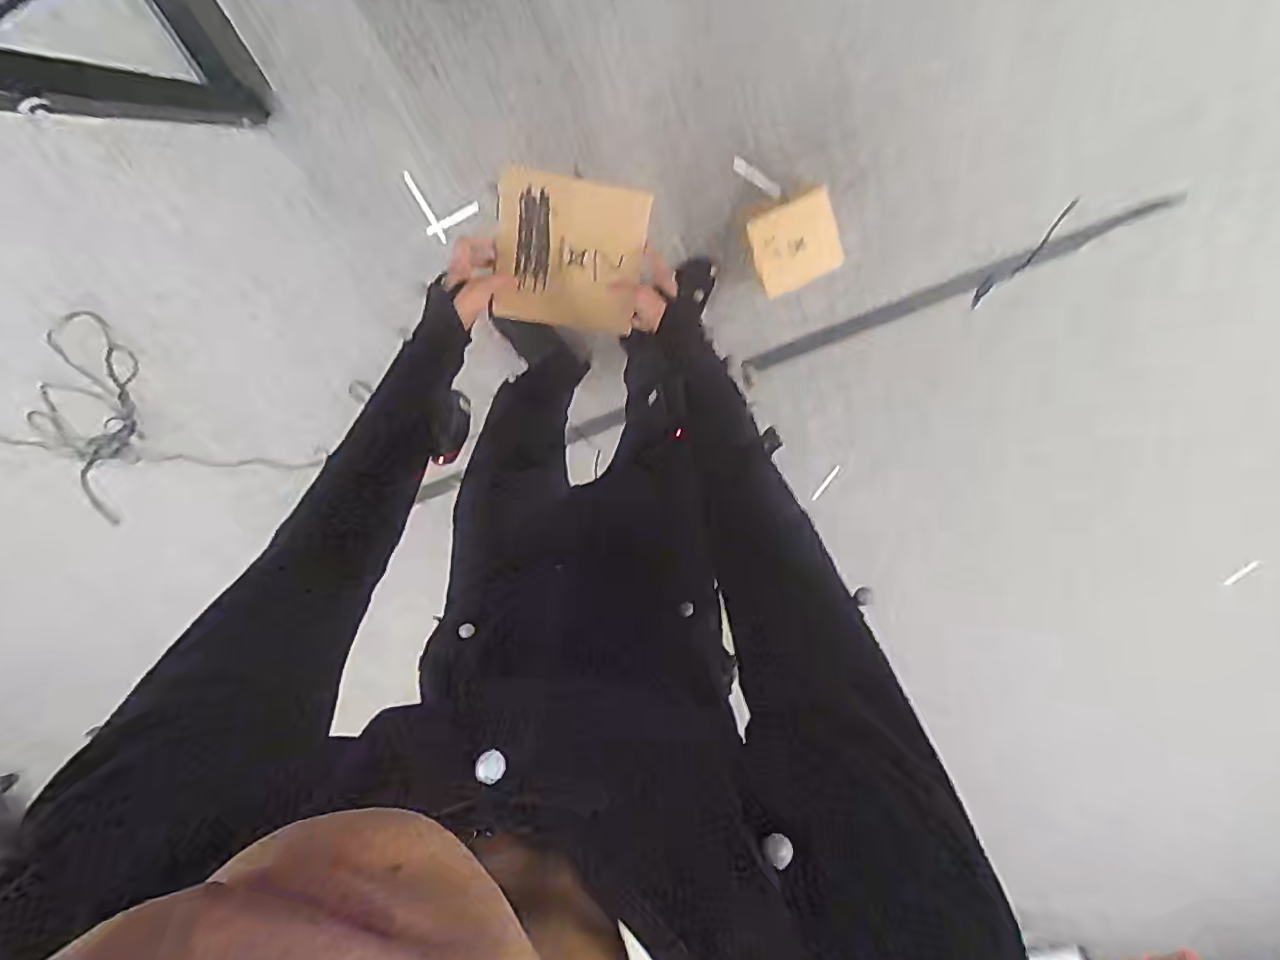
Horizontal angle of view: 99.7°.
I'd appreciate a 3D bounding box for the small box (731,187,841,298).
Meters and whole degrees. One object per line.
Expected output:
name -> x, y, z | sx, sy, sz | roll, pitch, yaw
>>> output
small box -> 0.321, -0.535, 1.209 | 0.179, 0.176, 0.168 | -21, 120, 10
